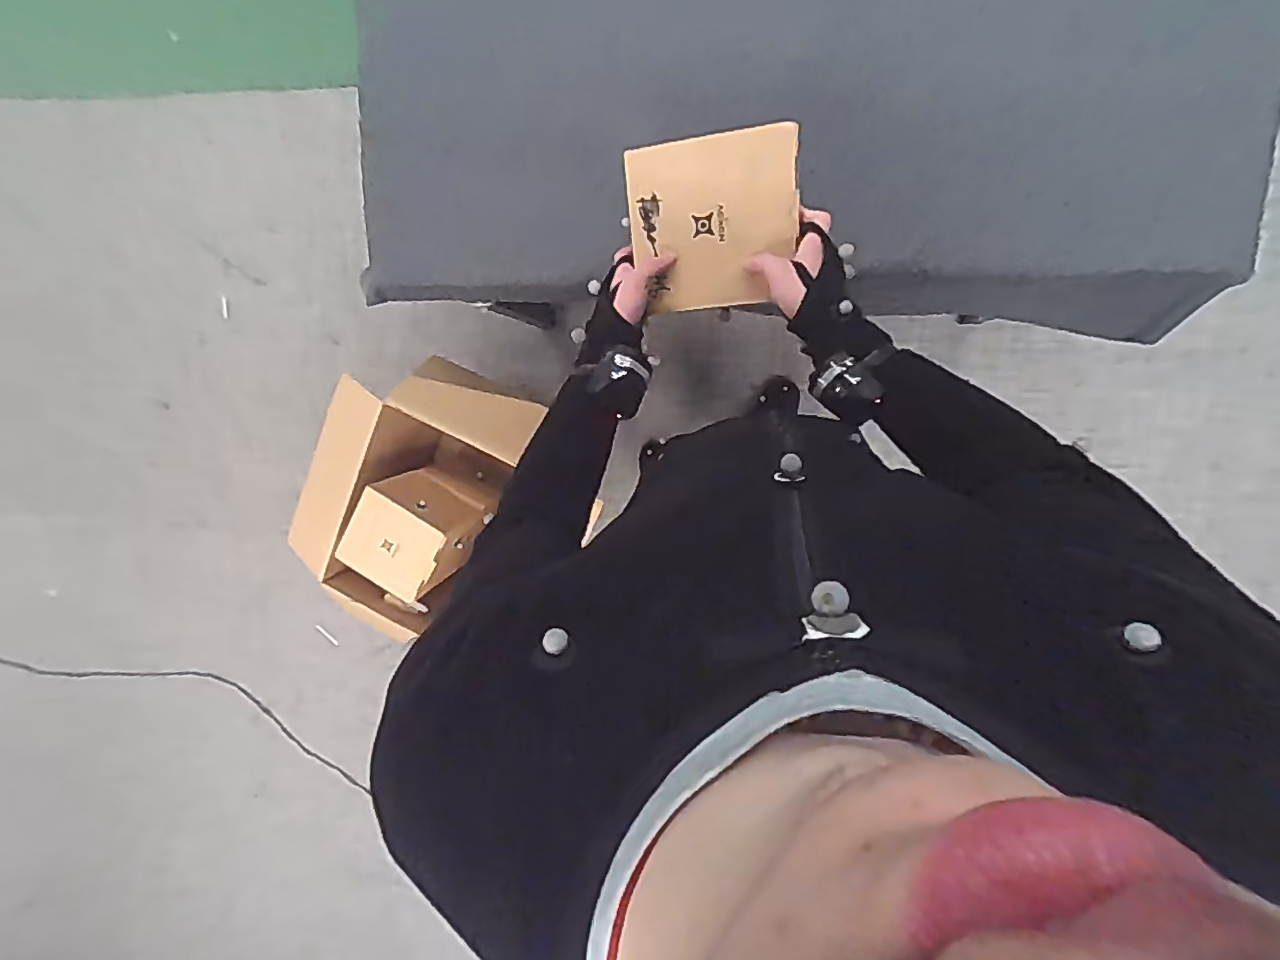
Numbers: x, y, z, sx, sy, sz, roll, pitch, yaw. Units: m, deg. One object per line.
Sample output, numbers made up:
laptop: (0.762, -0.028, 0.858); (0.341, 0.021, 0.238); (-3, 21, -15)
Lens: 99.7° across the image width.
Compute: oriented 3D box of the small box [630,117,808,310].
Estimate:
small box: (0.096, -0.290, 0.627); (0.179, 0.176, 0.168); (-1, 107, 13)
